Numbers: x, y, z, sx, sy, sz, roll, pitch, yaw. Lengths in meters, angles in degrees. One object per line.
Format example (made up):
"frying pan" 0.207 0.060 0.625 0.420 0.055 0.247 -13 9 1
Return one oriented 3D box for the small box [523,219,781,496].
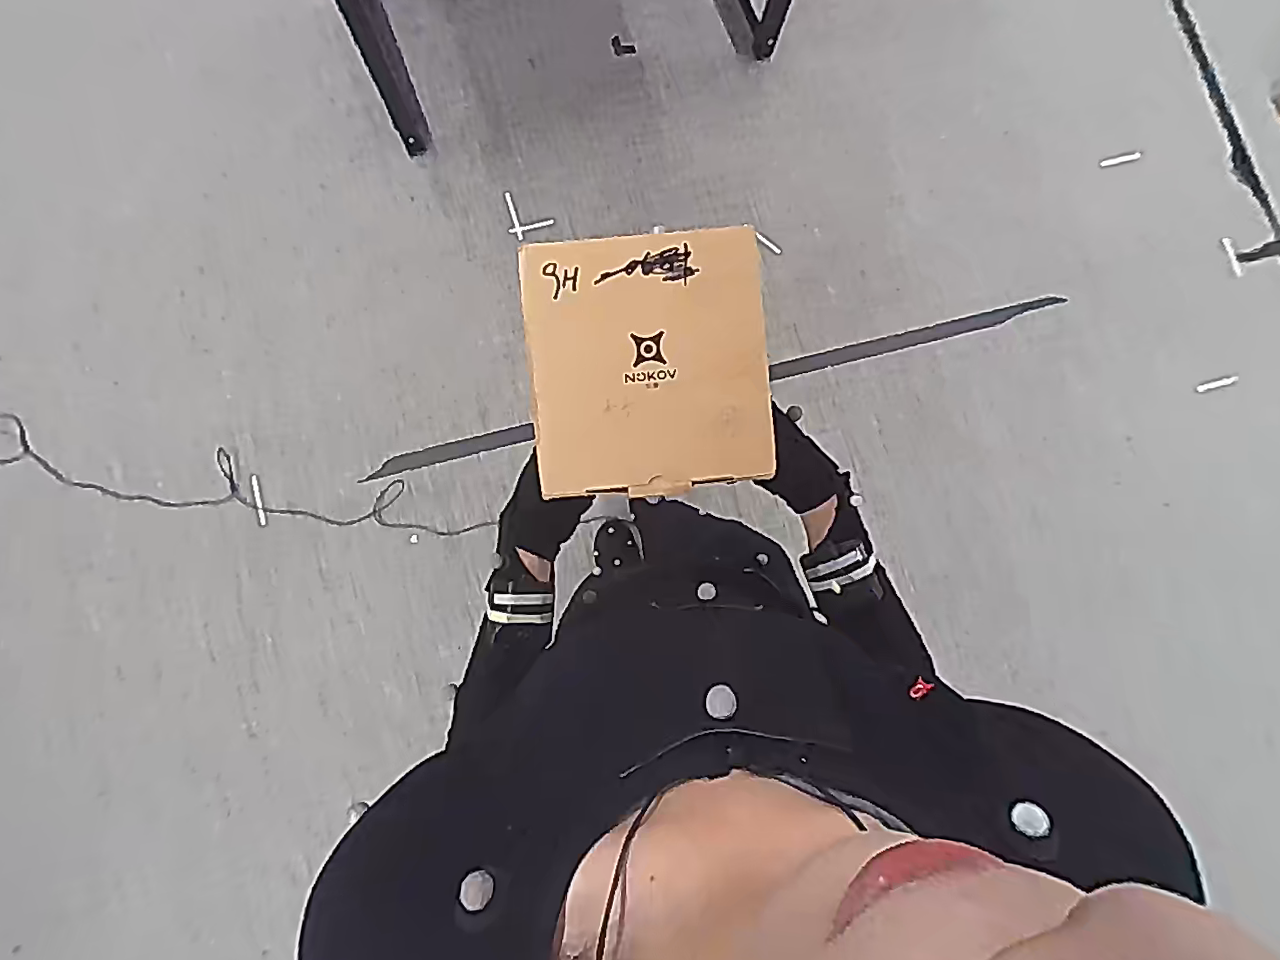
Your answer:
"small box" 0.009 -0.085 0.444 0.168 0.176 0.179 -5 92 -1
